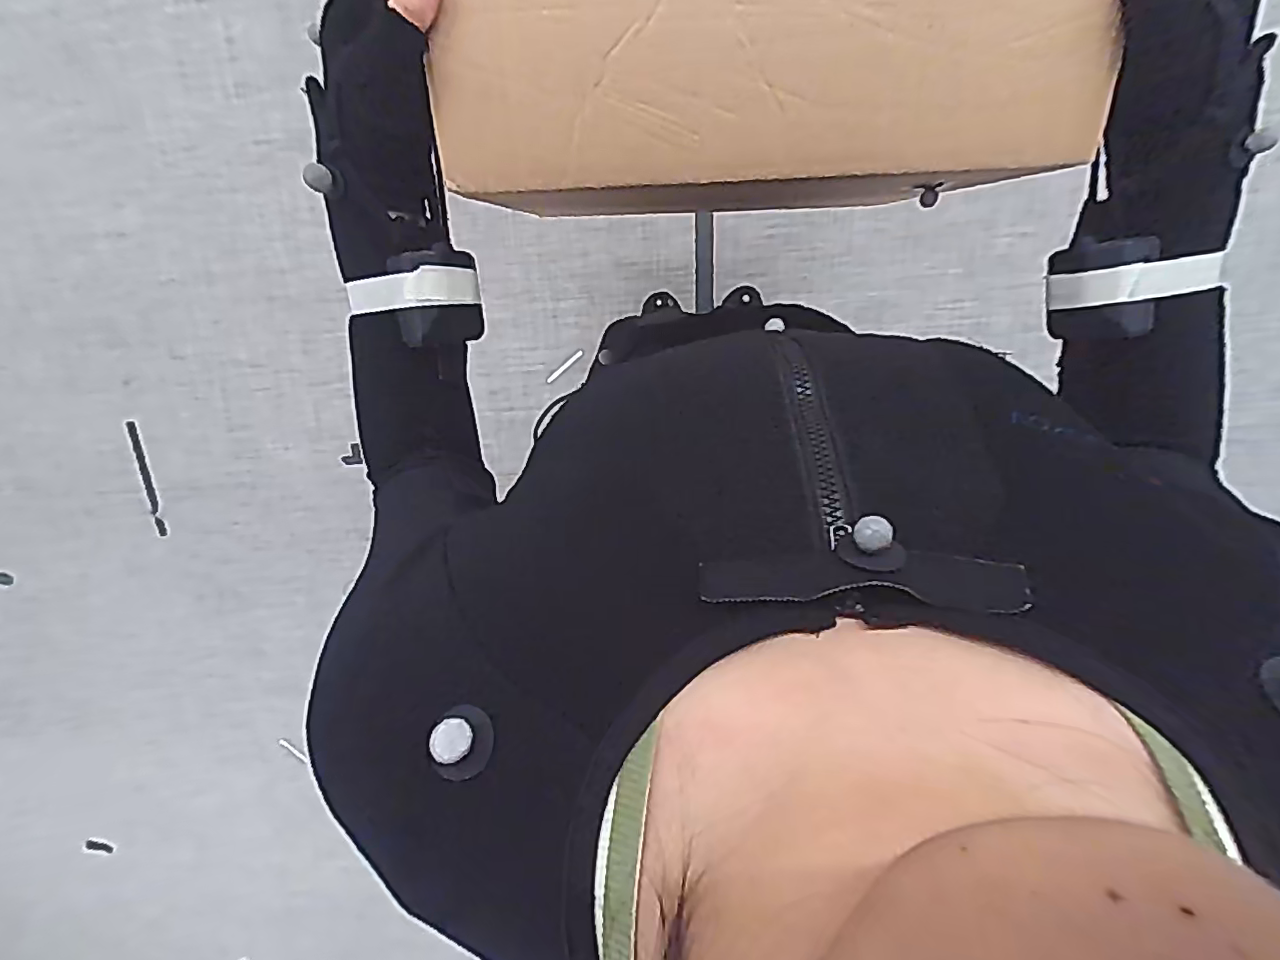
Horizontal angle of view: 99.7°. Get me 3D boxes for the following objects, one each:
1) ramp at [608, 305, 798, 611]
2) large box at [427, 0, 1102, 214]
[{"bbox_3d":[0.192,0.002,1.614,0.509,0.206,0.991,-4,108,4],"label":"ramp"},{"bbox_3d":[0.073,-0.397,0.429,0.408,0.320,0.320,-2,113,2],"label":"large box"}]
